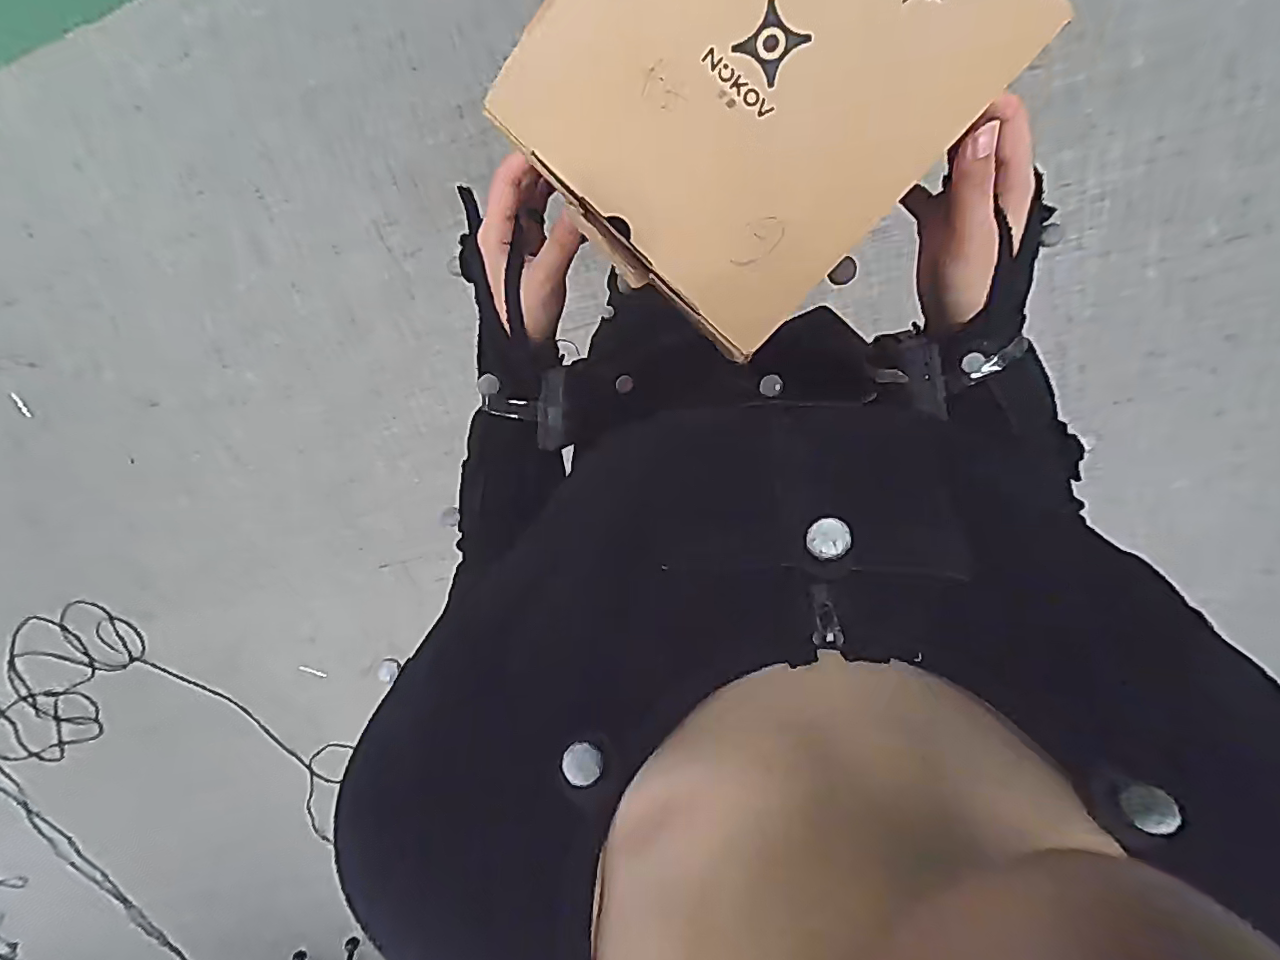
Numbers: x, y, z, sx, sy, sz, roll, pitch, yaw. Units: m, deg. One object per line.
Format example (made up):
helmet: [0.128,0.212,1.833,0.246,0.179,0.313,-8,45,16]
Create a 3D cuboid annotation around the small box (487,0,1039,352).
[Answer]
small box: [0.055,-0.191,0.307,0.168,0.176,0.179,43,106,-2]
